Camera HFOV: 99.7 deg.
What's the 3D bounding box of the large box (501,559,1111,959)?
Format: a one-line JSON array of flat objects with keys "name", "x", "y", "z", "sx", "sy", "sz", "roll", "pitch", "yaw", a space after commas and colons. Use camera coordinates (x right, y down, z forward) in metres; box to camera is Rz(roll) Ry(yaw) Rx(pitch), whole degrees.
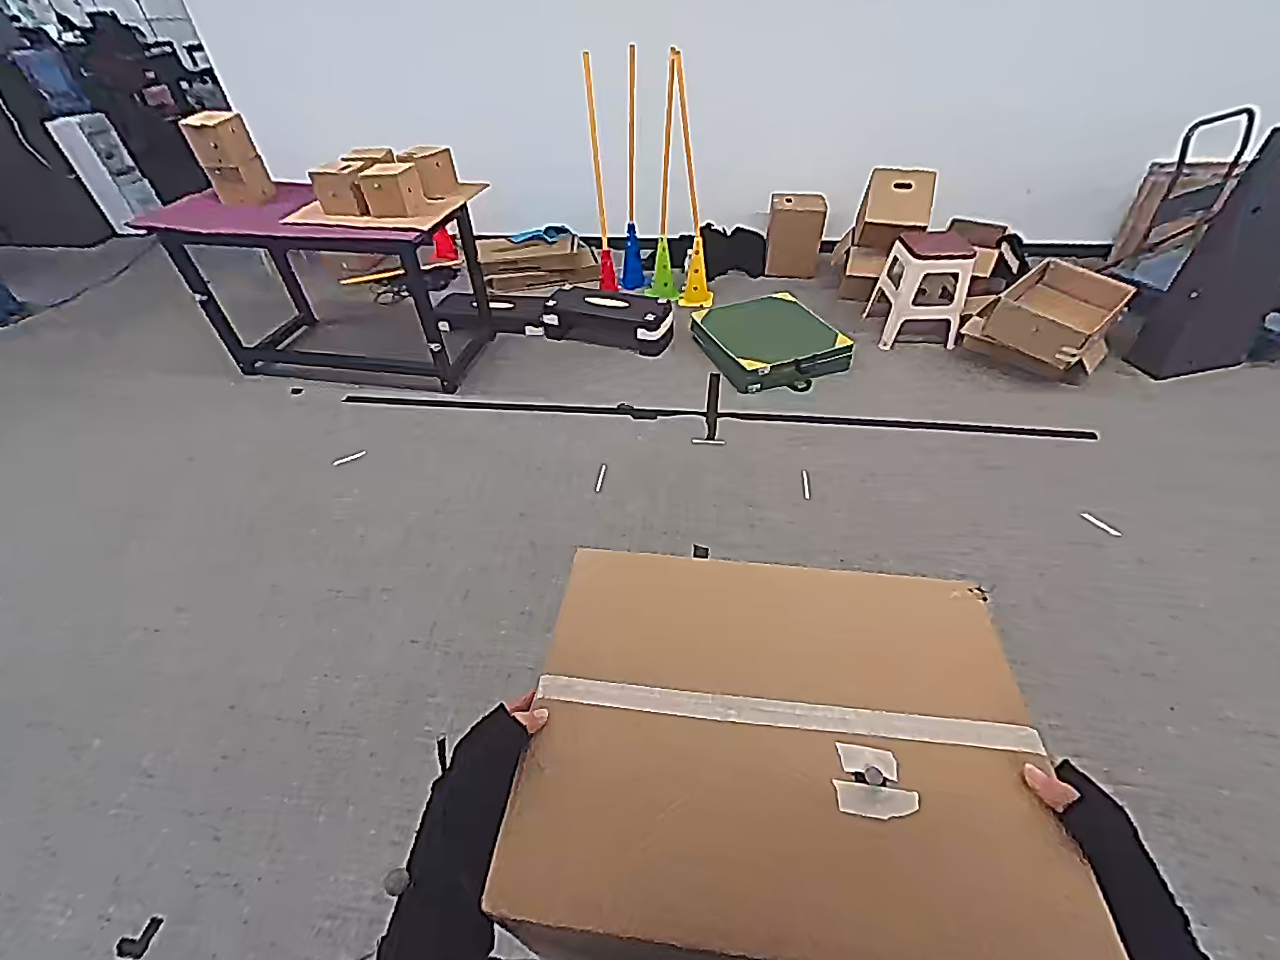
[{"name": "large box", "x": 0.117, "y": 0.308, "z": 0.557, "sx": 0.408, "sy": 0.320, "sz": 0.320, "roll": 4, "pitch": 44, "yaw": 6}]
